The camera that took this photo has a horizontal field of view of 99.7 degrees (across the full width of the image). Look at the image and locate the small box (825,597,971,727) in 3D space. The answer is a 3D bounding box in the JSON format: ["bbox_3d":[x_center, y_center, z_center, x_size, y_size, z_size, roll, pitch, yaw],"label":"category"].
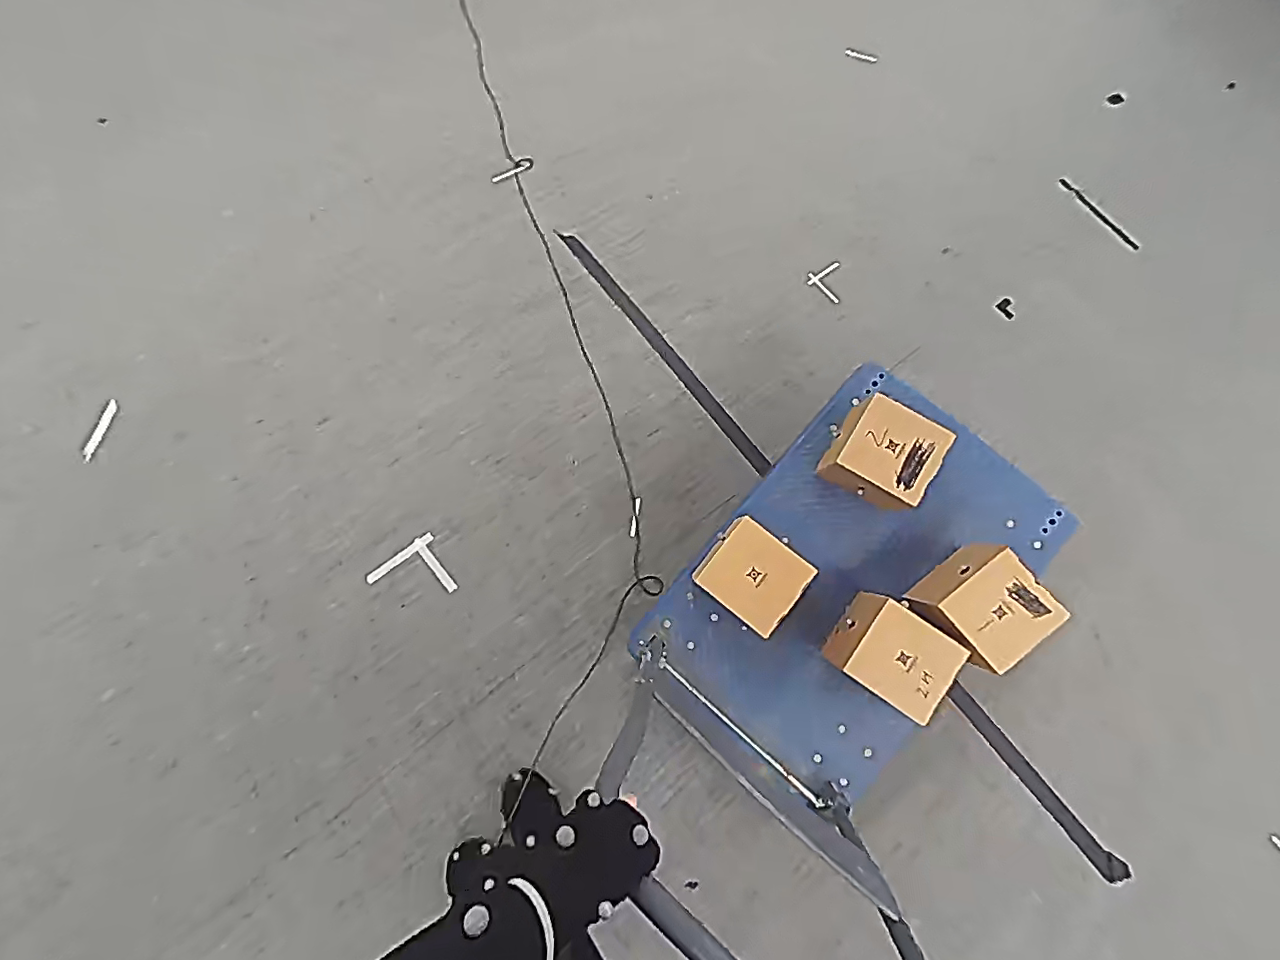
[{"bbox_3d":[0.496,0.347,1.072,0.179,0.176,0.168,36,87,7],"label":"small box"}]

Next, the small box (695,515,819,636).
[{"bbox_3d":[0.228,0.192,1.111,0.179,0.176,0.168,39,87,6],"label":"small box"}]

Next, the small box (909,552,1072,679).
[{"bbox_3d":[0.678,0.256,1.071,0.179,0.176,0.168,-39,82,0],"label":"small box"}]
